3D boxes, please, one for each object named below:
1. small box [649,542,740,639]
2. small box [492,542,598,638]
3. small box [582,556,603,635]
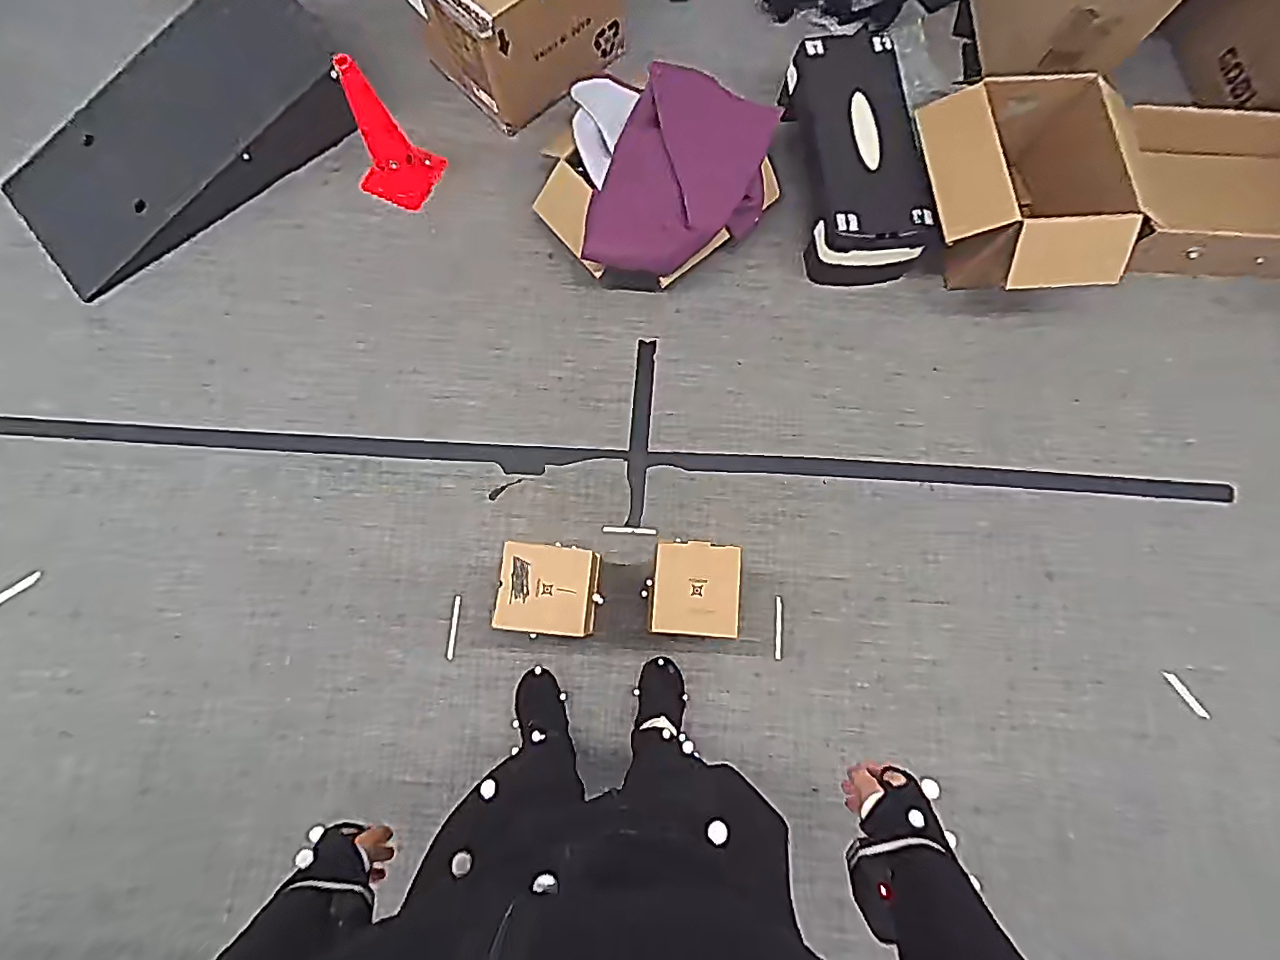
[{"bbox_3d":[0.107,0.230,1.127,0.168,0.176,0.179,4,78,0],"label":"small box"},{"bbox_3d":[-0.187,0.229,1.116,0.179,0.176,0.168,7,77,-1],"label":"small box"},{"bbox_3d":[-0.180,0.263,1.278,0.168,0.176,0.179,6,78,0],"label":"small box"}]
